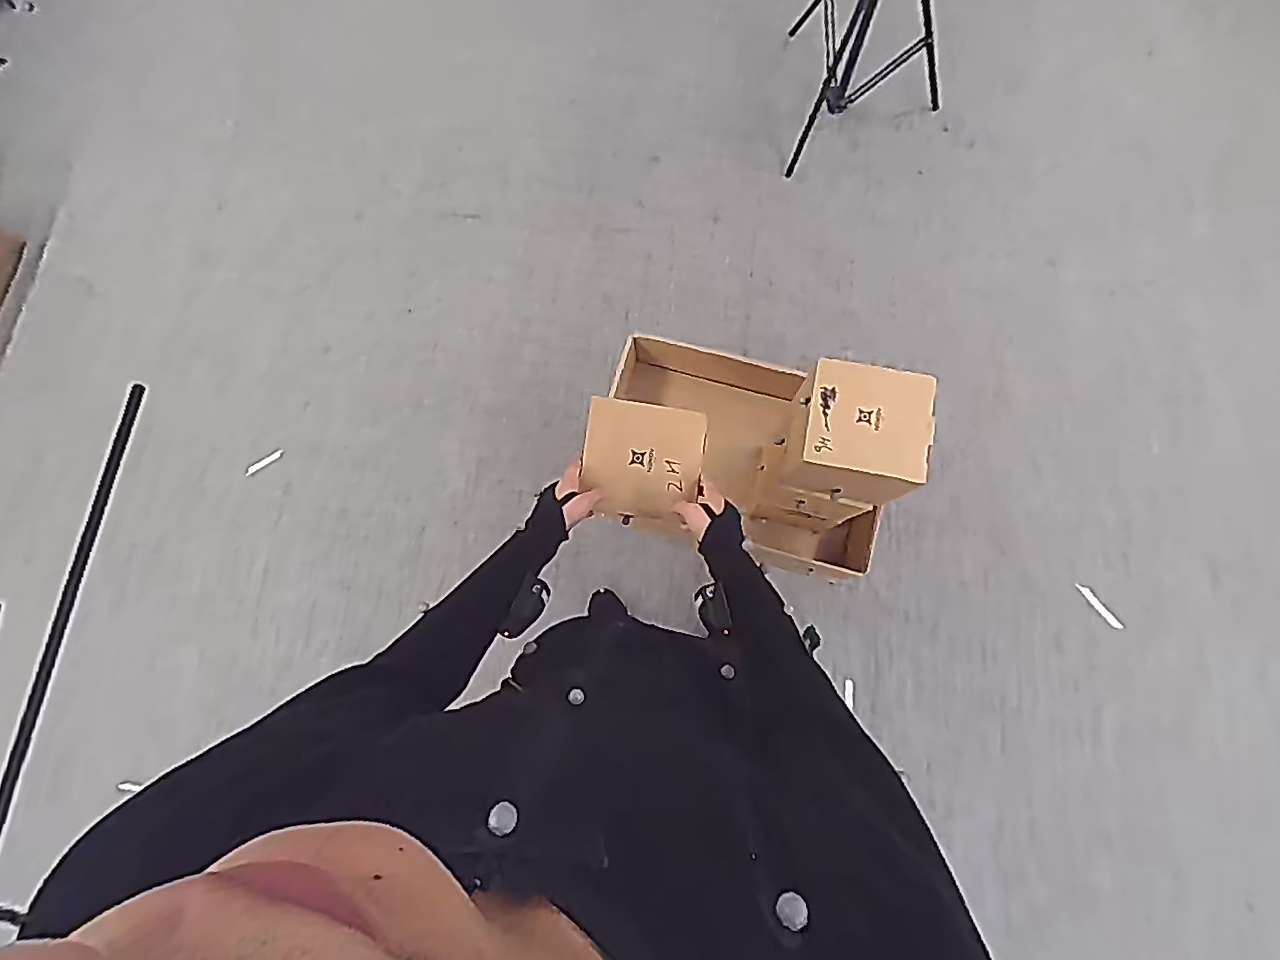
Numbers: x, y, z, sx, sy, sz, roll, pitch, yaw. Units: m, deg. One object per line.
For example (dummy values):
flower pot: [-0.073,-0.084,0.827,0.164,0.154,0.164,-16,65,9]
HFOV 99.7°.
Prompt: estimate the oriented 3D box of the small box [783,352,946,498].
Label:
small box: [0.339,-0.076,0.843,0.179,0.176,0.168,12,78,5]

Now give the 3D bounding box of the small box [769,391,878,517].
small box: [0.344,-0.040,1.003,0.168,0.176,0.179,14,79,6]

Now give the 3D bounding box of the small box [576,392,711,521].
small box: [0.001,-0.029,0.845,0.179,0.176,0.168,8,87,-4]

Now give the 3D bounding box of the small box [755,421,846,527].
small box: [0.351,-0.005,1.161,0.168,0.176,0.179,13,79,6]
